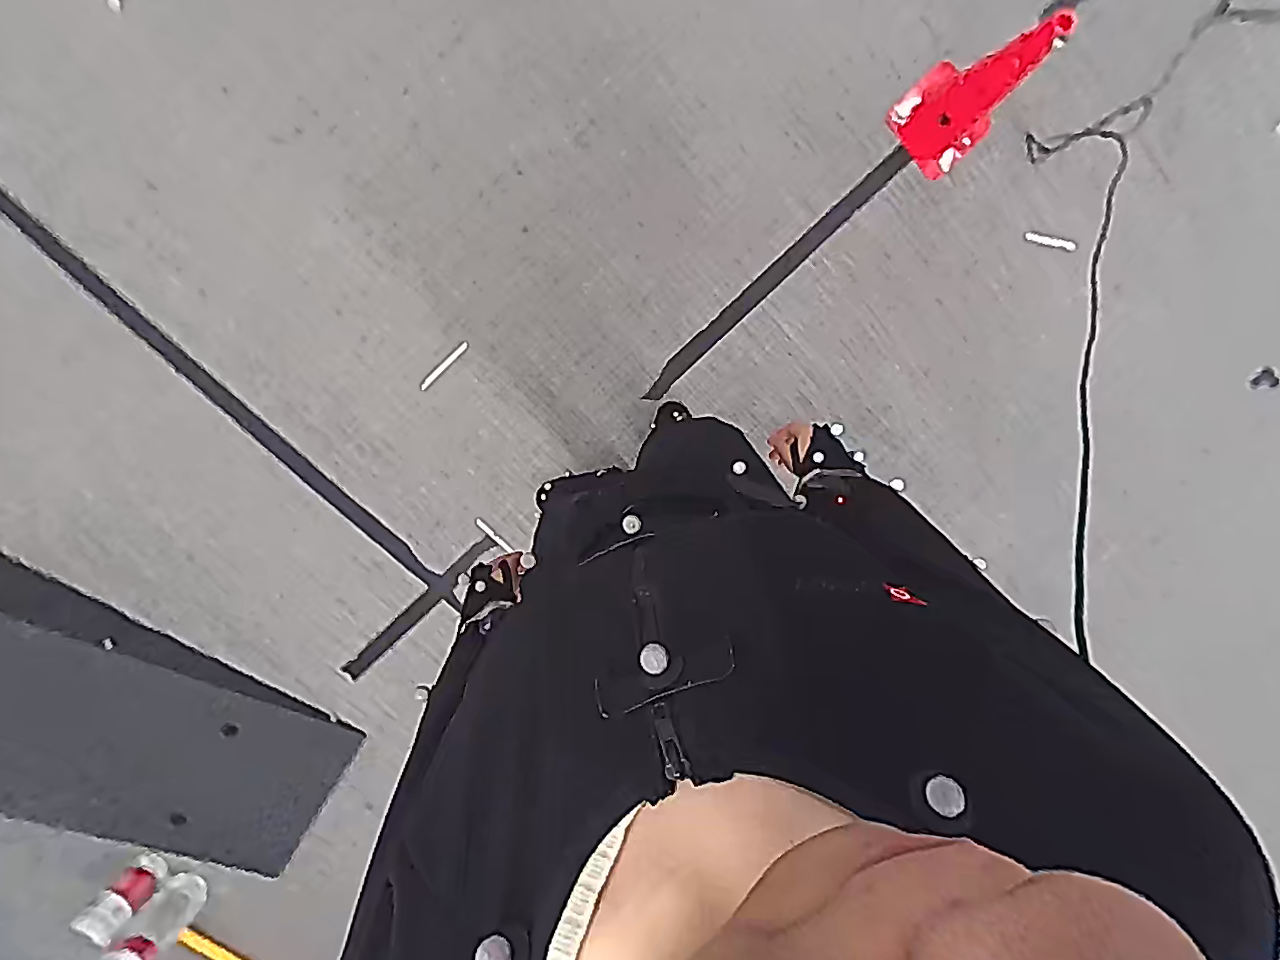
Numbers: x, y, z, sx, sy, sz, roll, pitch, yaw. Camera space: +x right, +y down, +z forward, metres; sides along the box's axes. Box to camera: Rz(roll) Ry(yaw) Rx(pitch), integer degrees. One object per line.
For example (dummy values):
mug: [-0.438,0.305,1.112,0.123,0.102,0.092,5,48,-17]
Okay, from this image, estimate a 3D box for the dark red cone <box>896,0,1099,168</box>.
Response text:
dark red cone: [0.733,-0.837,1.101,0.202,0.394,0.201,-44,101,3]
